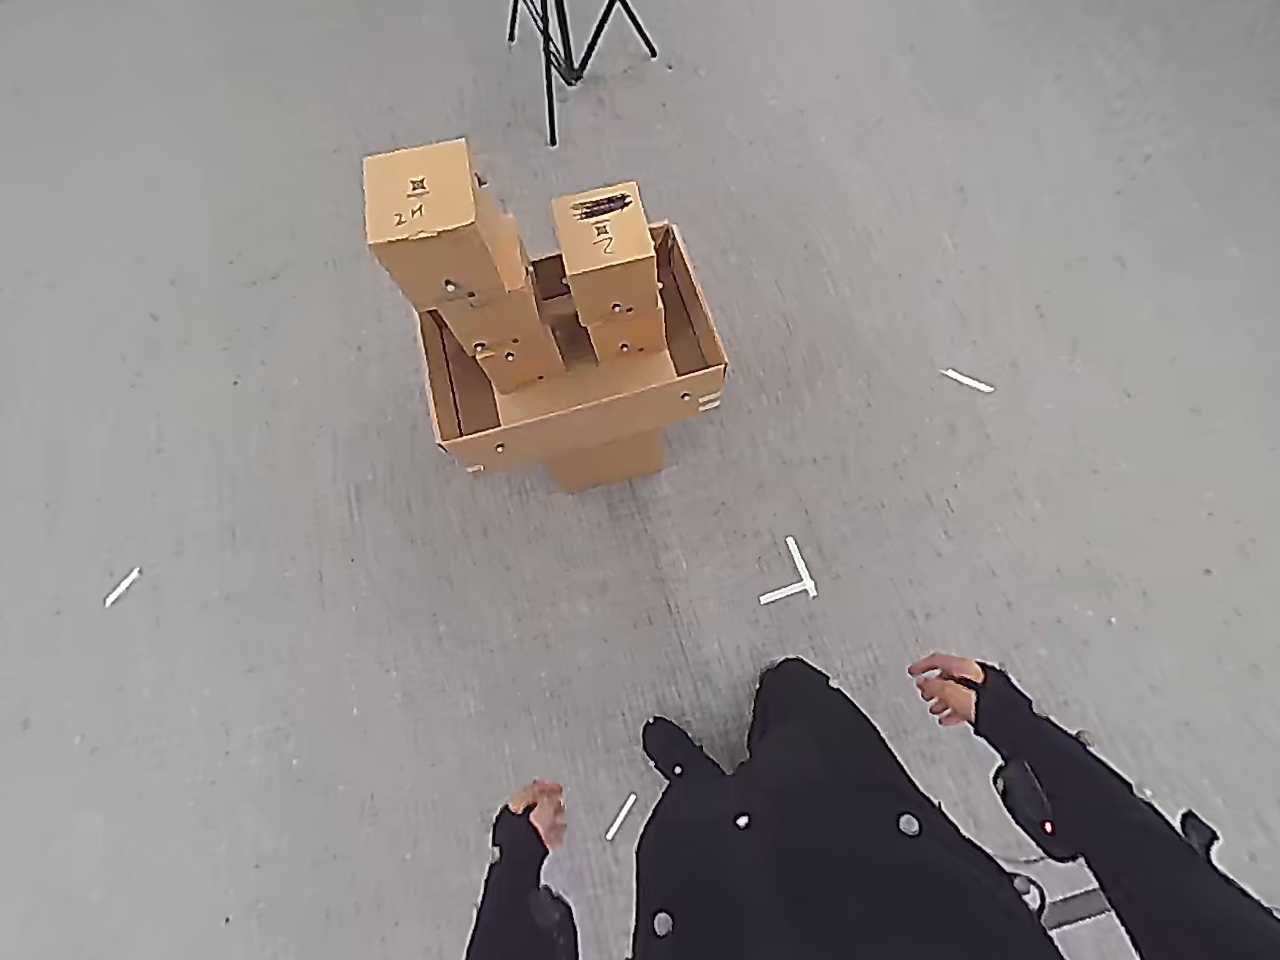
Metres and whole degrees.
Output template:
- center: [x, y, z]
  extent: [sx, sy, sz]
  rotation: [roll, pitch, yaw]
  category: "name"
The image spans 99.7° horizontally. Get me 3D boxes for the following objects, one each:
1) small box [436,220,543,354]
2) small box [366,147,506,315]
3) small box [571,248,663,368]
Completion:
- center: [-0.295, -0.365, 1.058]
  extent: [0.168, 0.176, 0.179]
  rotation: [-12, 72, -1]
  category: "small box"
- center: [-0.332, -0.406, 0.900]
  extent: [0.168, 0.176, 0.179]
  rotation: [-12, 73, -1]
  category: "small box"
- center: [-0.049, -0.383, 1.223]
  extent: [0.168, 0.176, 0.179]
  rotation: [-15, 73, -1]
  category: "small box"
